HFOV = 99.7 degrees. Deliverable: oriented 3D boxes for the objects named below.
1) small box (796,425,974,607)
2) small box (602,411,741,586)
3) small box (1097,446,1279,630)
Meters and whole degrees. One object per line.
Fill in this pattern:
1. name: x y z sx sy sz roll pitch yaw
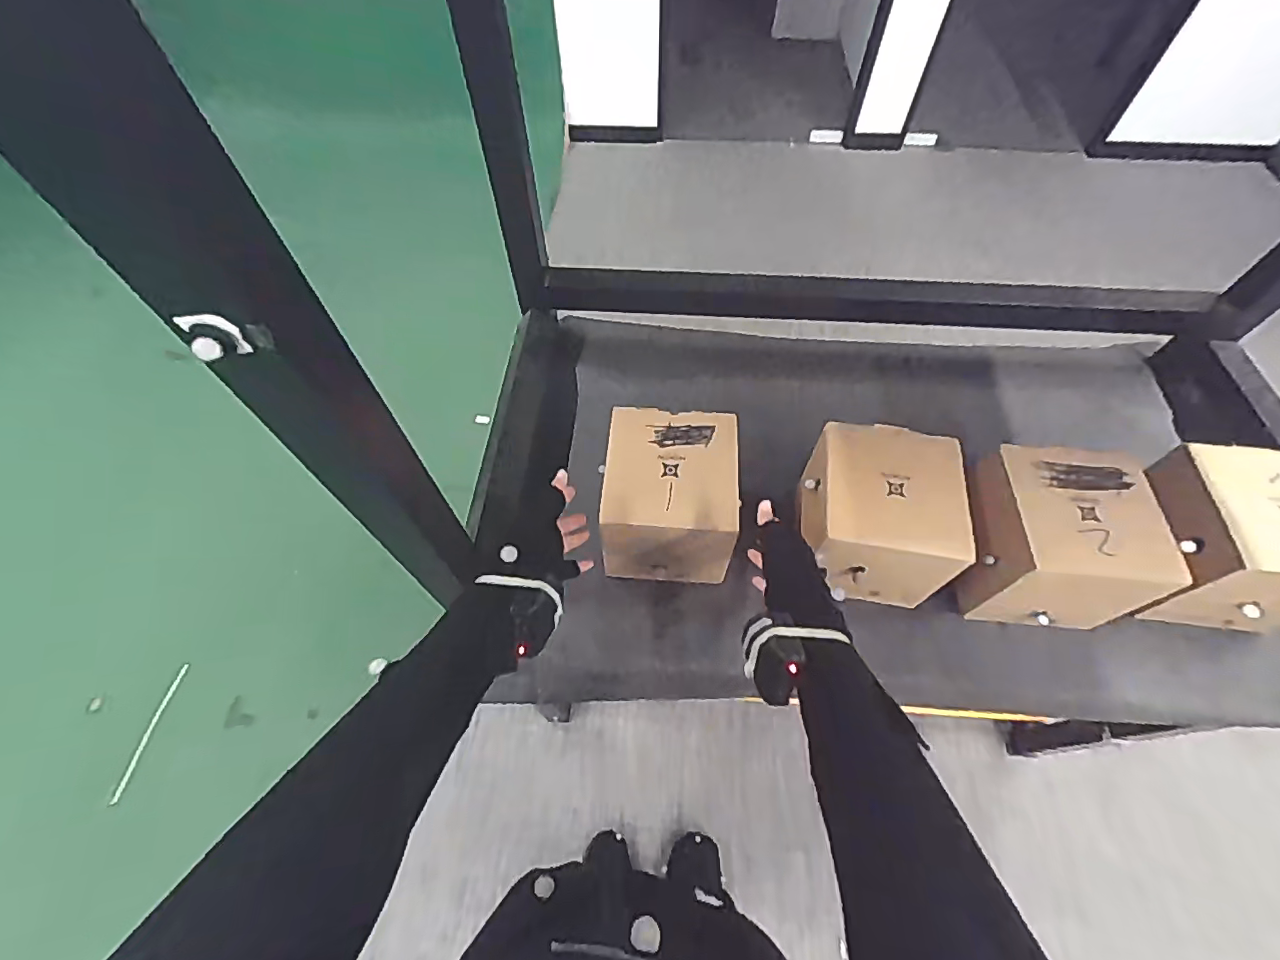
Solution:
1. small box: 0.311 0.054 0.722 0.168 0.176 0.179 9 58 6
2. small box: 0.043 0.028 0.738 0.168 0.176 0.179 3 58 3
3. small box: 0.751 0.080 0.695 0.168 0.176 0.179 6 57 4
